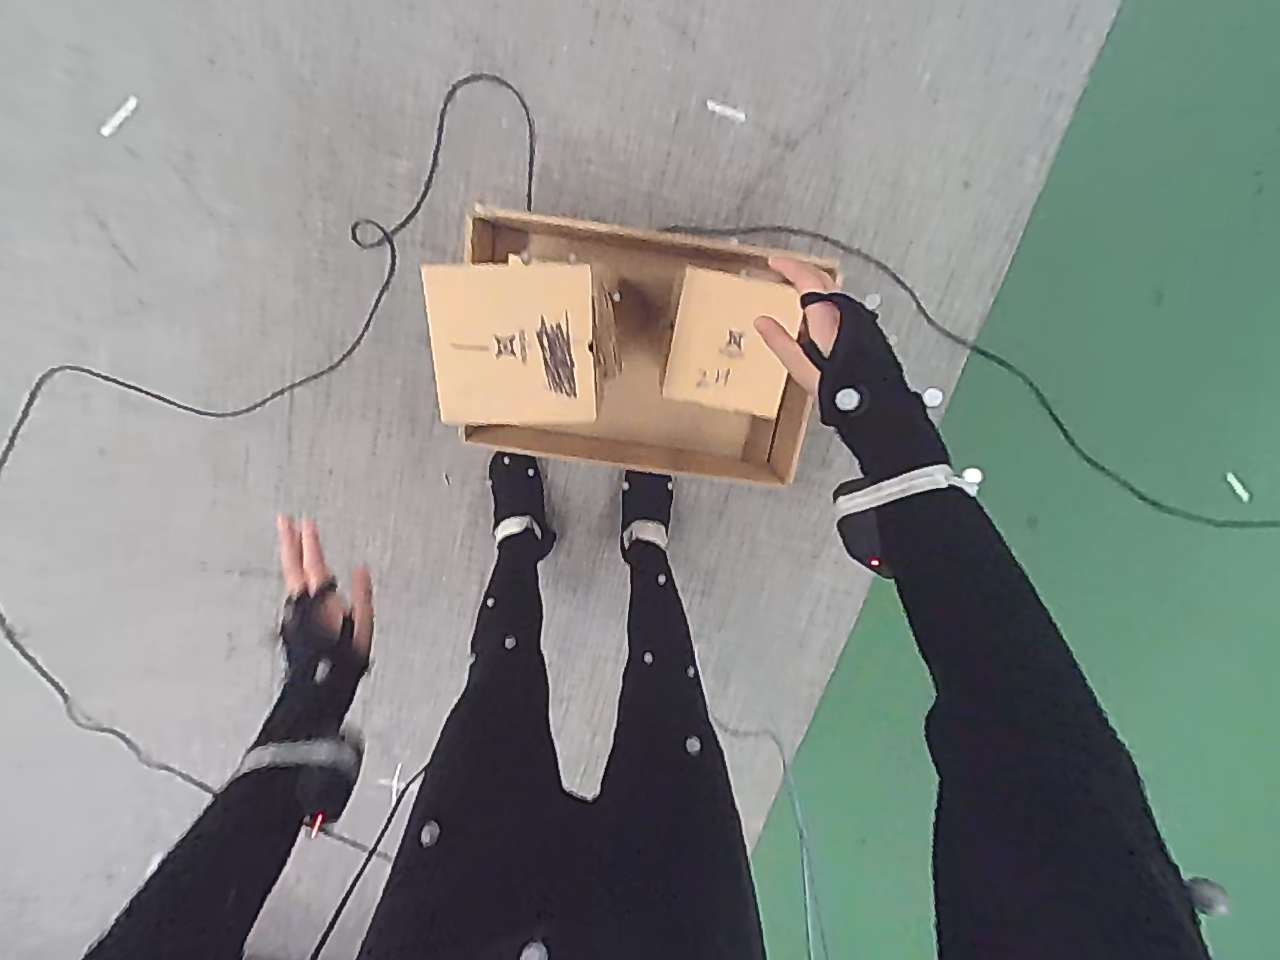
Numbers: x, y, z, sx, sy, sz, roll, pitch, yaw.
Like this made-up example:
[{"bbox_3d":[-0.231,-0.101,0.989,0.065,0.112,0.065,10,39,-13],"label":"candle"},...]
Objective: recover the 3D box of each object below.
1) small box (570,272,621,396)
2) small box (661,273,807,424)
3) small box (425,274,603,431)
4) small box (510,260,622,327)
[{"bbox_3d":[-0.123,-0.214,0.806,0.179,0.176,0.168,-7,109,2],"label":"small box"},{"bbox_3d":[0.126,-0.198,0.805,0.168,0.176,0.179,11,108,-2],"label":"small box"},{"bbox_3d":[-0.134,-0.159,0.651,0.179,0.176,0.168,0,109,0],"label":"small box"},{"bbox_3d":[-0.130,-0.283,0.954,0.179,0.176,0.168,8,109,-4],"label":"small box"}]
